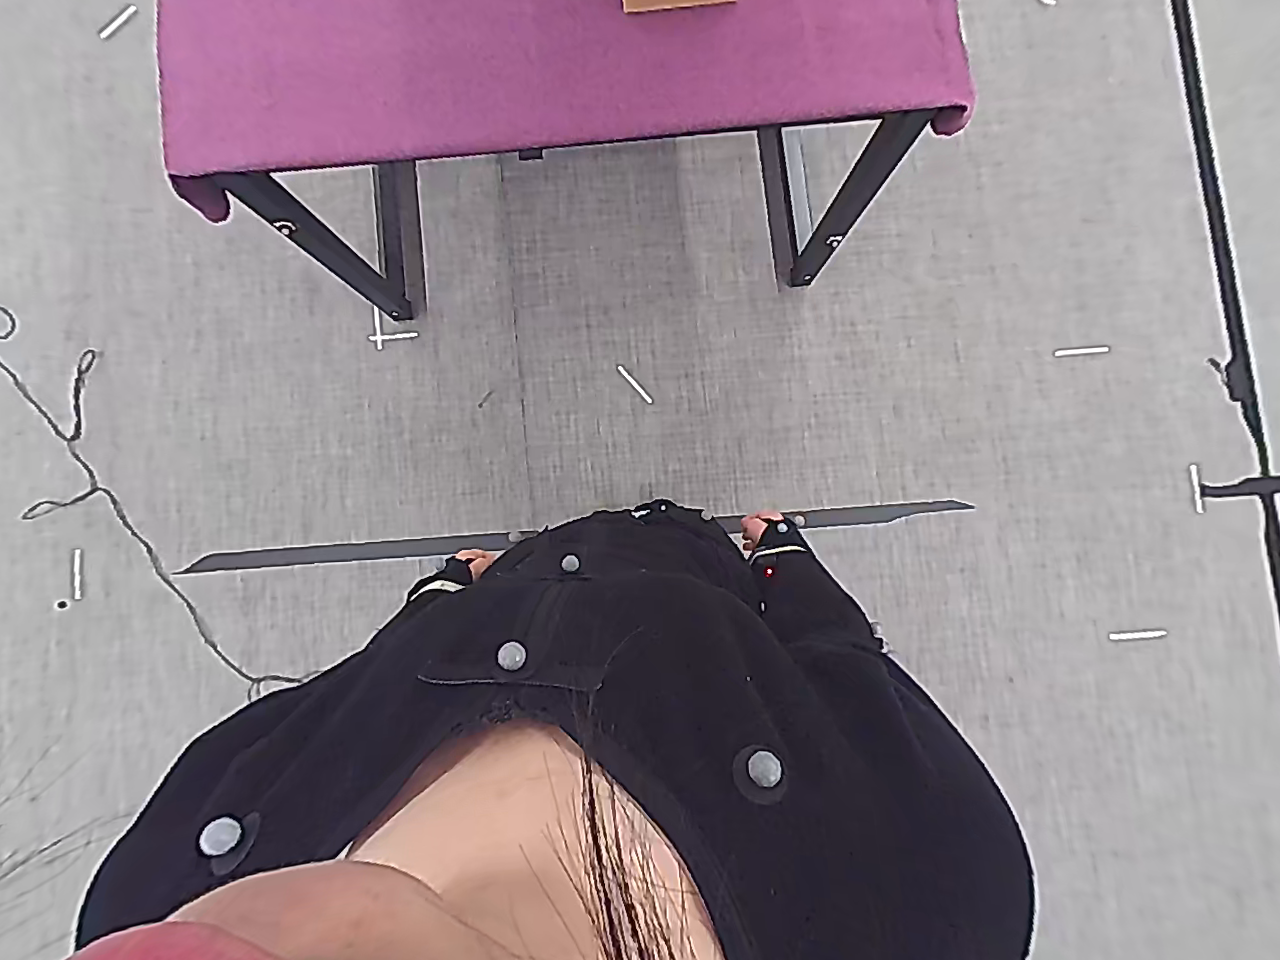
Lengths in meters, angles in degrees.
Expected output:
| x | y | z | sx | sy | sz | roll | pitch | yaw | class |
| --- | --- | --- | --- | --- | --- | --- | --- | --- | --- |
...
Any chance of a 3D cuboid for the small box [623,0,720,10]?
| x | y | z | sx | sy | sz | roll | pitch | yaw | class |
| --- | --- | --- | --- | --- | --- | --- | --- | --- | --- |
| 0.054 | -0.805 | 0.747 | 0.179 | 0.176 | 0.168 | -6 | 86 | 0 | small box |
